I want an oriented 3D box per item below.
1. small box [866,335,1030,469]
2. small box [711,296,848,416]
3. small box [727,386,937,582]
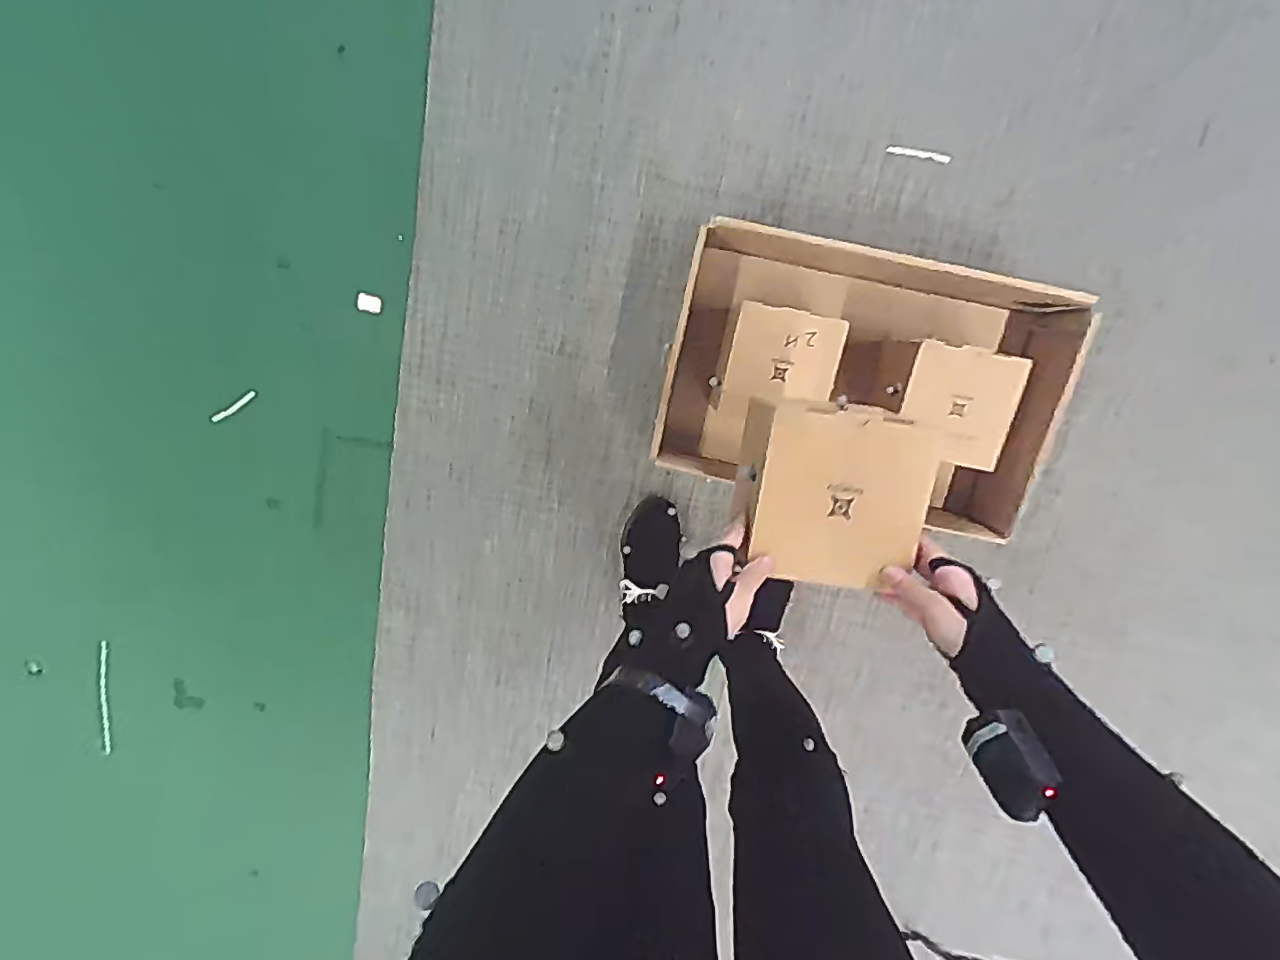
[{"bbox_3d":[0.486,-0.133,0.895,0.168,0.176,0.179,13,104,2],"label":"small box"},{"bbox_3d":[0.218,-0.191,0.898,0.168,0.176,0.179,12,103,0],"label":"small box"},{"bbox_3d":[0.196,-0.007,0.611,0.168,0.176,0.179,8,101,1],"label":"small box"}]
